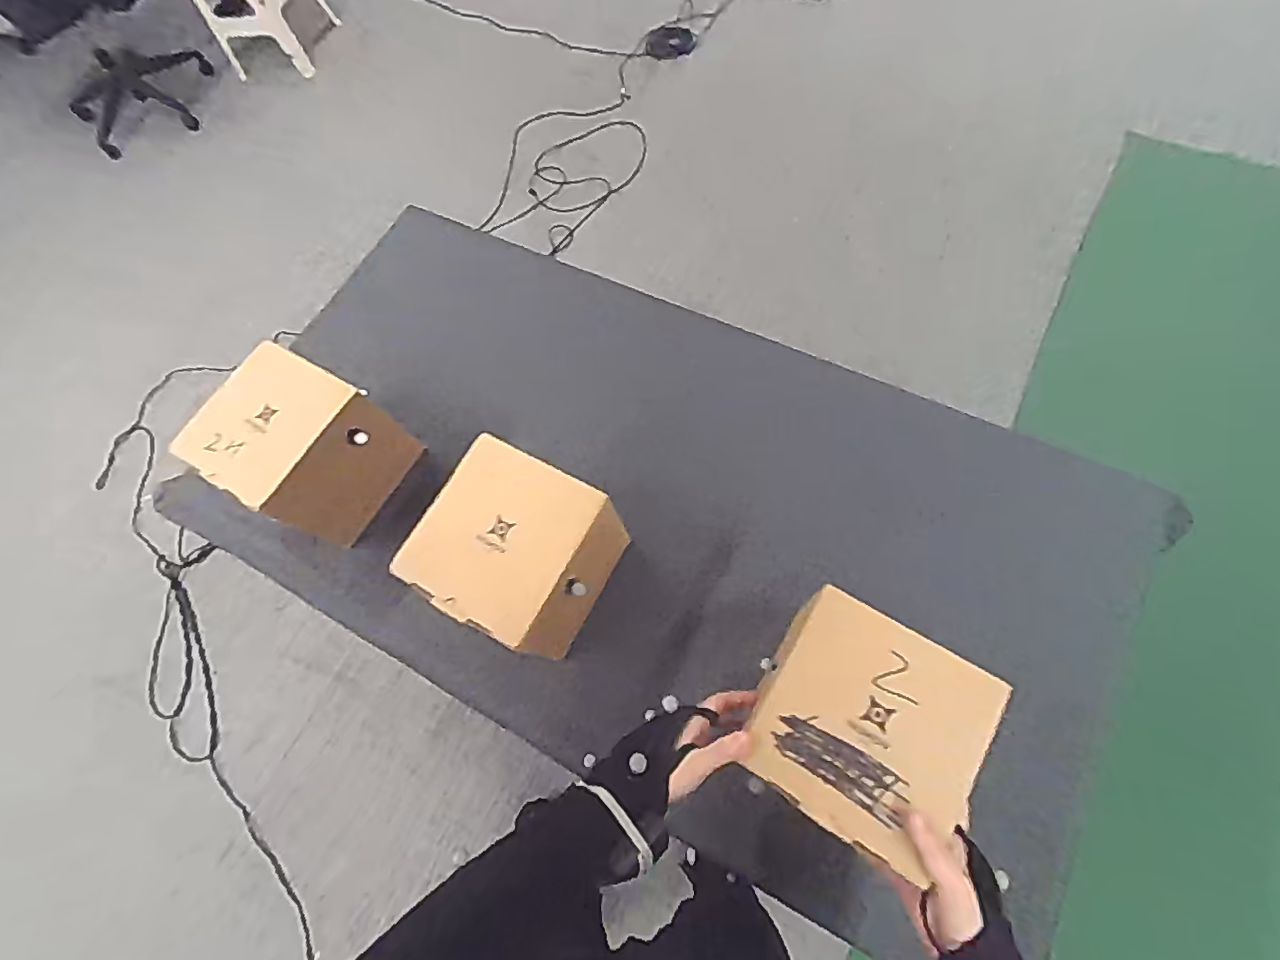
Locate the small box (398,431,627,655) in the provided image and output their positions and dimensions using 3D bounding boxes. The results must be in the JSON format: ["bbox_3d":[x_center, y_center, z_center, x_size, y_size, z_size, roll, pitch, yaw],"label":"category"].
[{"bbox_3d":[-0.126,0.080,0.619,0.168,0.176,0.179,27,74,15],"label":"small box"}]

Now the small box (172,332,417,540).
[{"bbox_3d":[-0.422,-0.049,0.699,0.168,0.176,0.179,28,74,16],"label":"small box"}]
